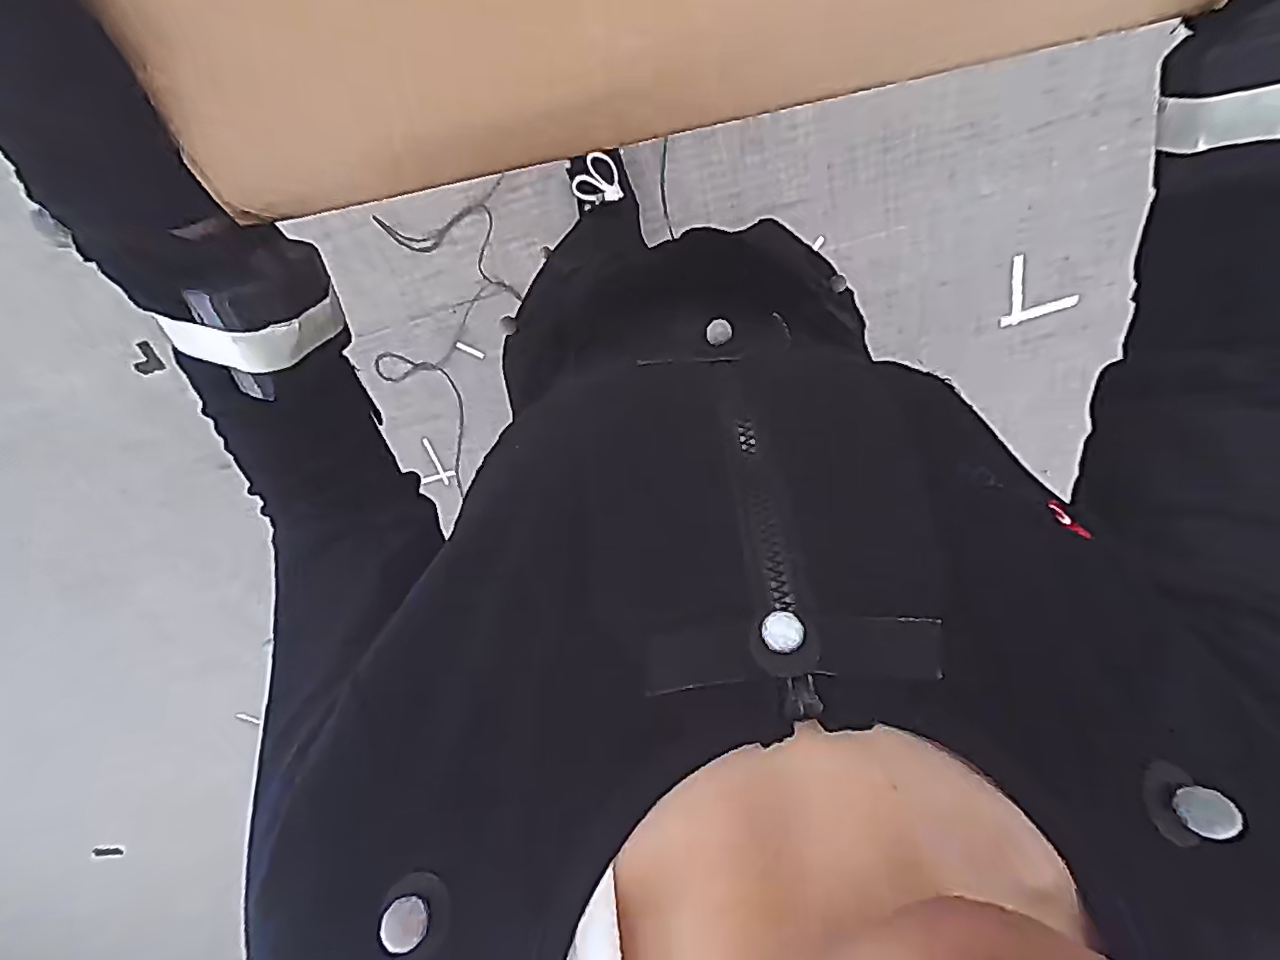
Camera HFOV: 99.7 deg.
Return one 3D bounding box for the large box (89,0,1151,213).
[{"bbox_3d":[-0.018,-0.363,0.197,0.408,0.320,0.320,-10,142,4],"label":"large box"}]
